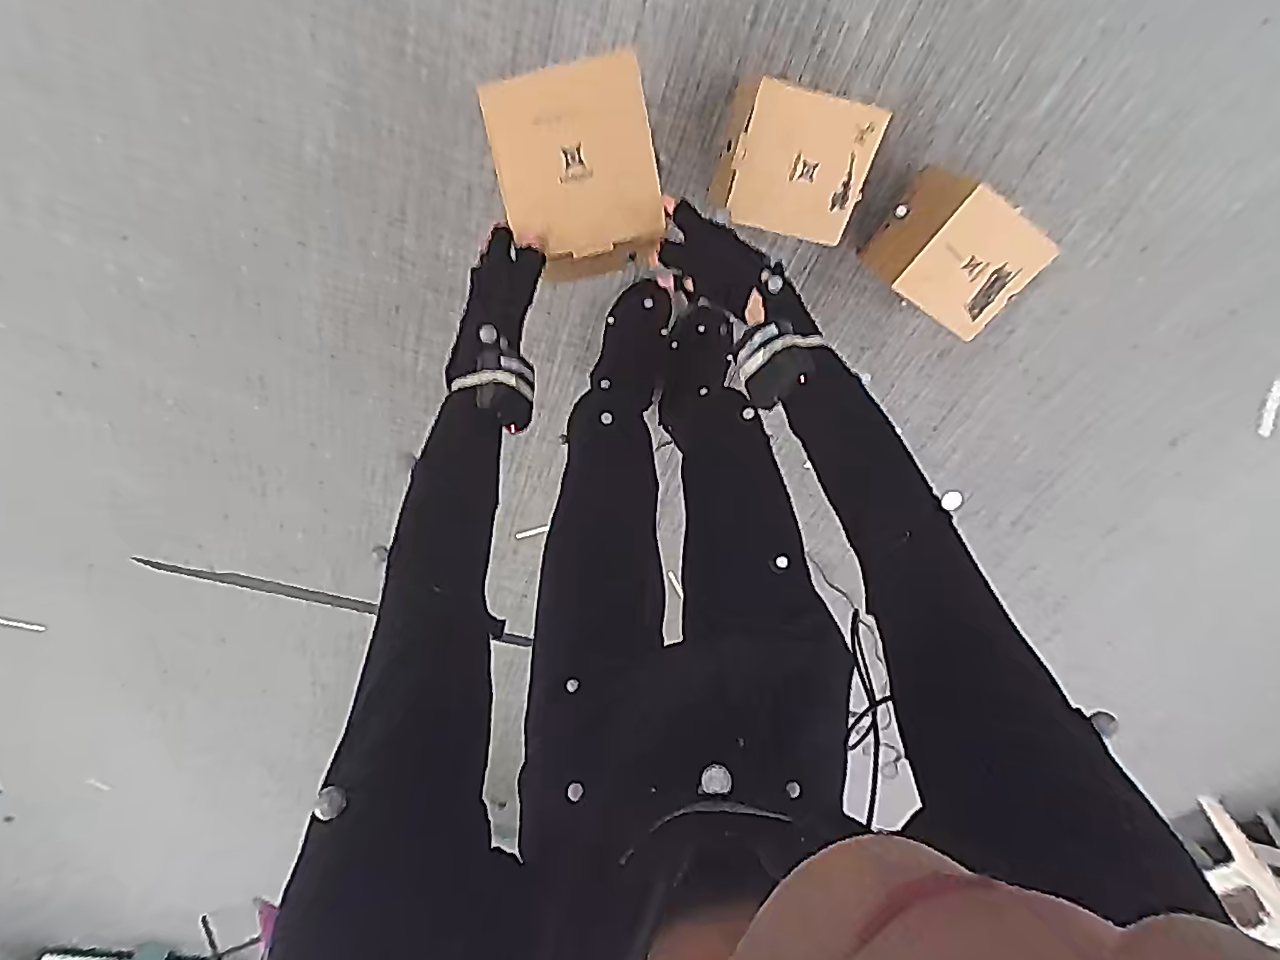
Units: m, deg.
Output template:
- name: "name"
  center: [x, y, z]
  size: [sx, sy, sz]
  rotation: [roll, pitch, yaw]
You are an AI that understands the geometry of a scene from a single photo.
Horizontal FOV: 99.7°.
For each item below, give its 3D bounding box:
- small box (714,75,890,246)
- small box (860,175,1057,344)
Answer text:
- name: "small box"
  center: [0.213, -0.458, 0.775]
  size: [0.179, 0.176, 0.168]
  rotation: [11, 127, -7]
- name: "small box"
  center: [0.487, -0.353, 0.854]
  size: [0.179, 0.176, 0.168]
  rotation: [26, 123, -17]
